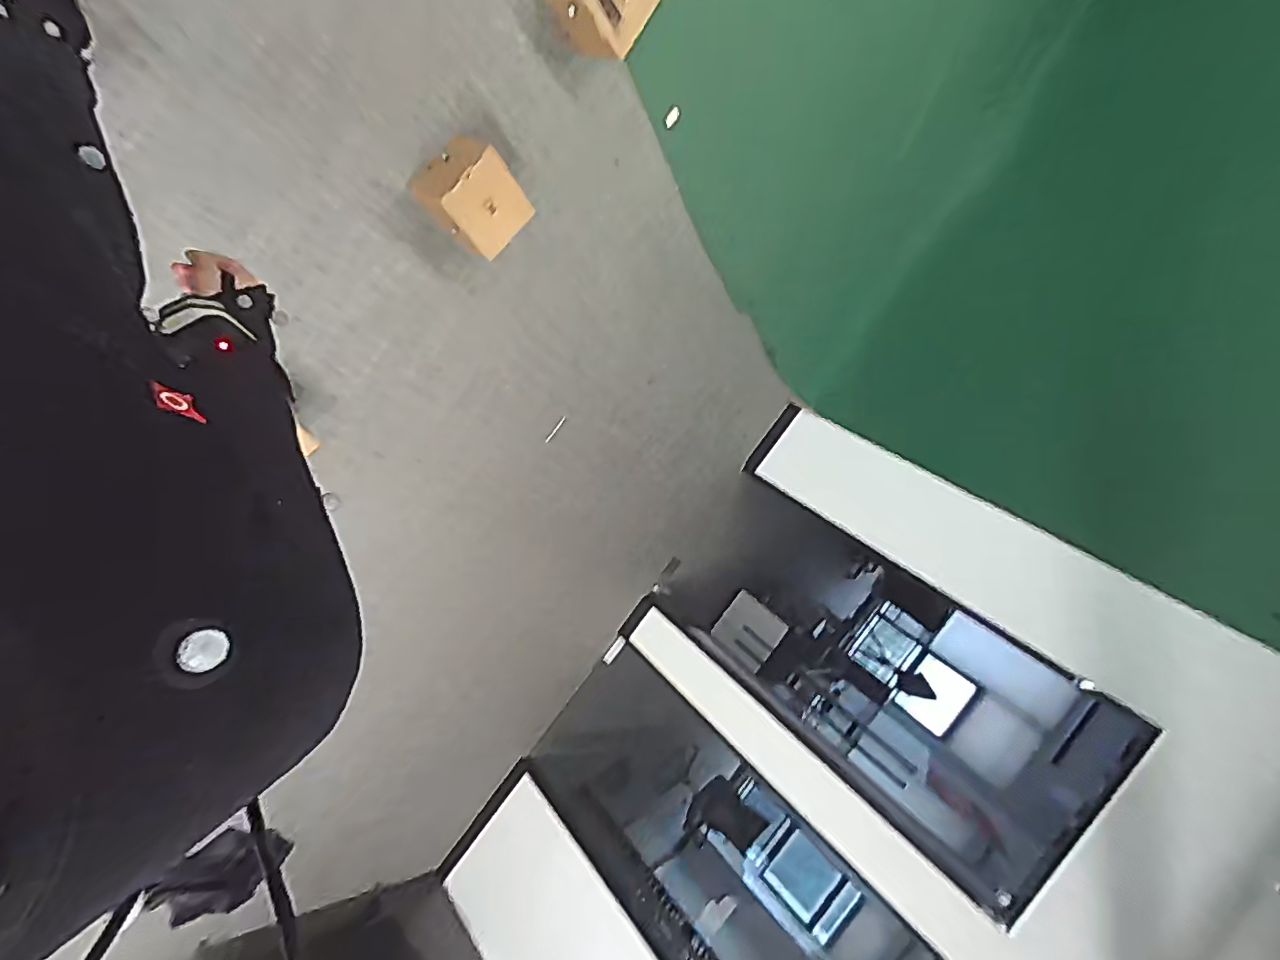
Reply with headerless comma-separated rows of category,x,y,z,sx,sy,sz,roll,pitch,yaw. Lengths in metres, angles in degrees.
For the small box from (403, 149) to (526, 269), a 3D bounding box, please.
small box,-0.408,-0.634,1.262,0.168,0.176,0.179,-51,146,-5
